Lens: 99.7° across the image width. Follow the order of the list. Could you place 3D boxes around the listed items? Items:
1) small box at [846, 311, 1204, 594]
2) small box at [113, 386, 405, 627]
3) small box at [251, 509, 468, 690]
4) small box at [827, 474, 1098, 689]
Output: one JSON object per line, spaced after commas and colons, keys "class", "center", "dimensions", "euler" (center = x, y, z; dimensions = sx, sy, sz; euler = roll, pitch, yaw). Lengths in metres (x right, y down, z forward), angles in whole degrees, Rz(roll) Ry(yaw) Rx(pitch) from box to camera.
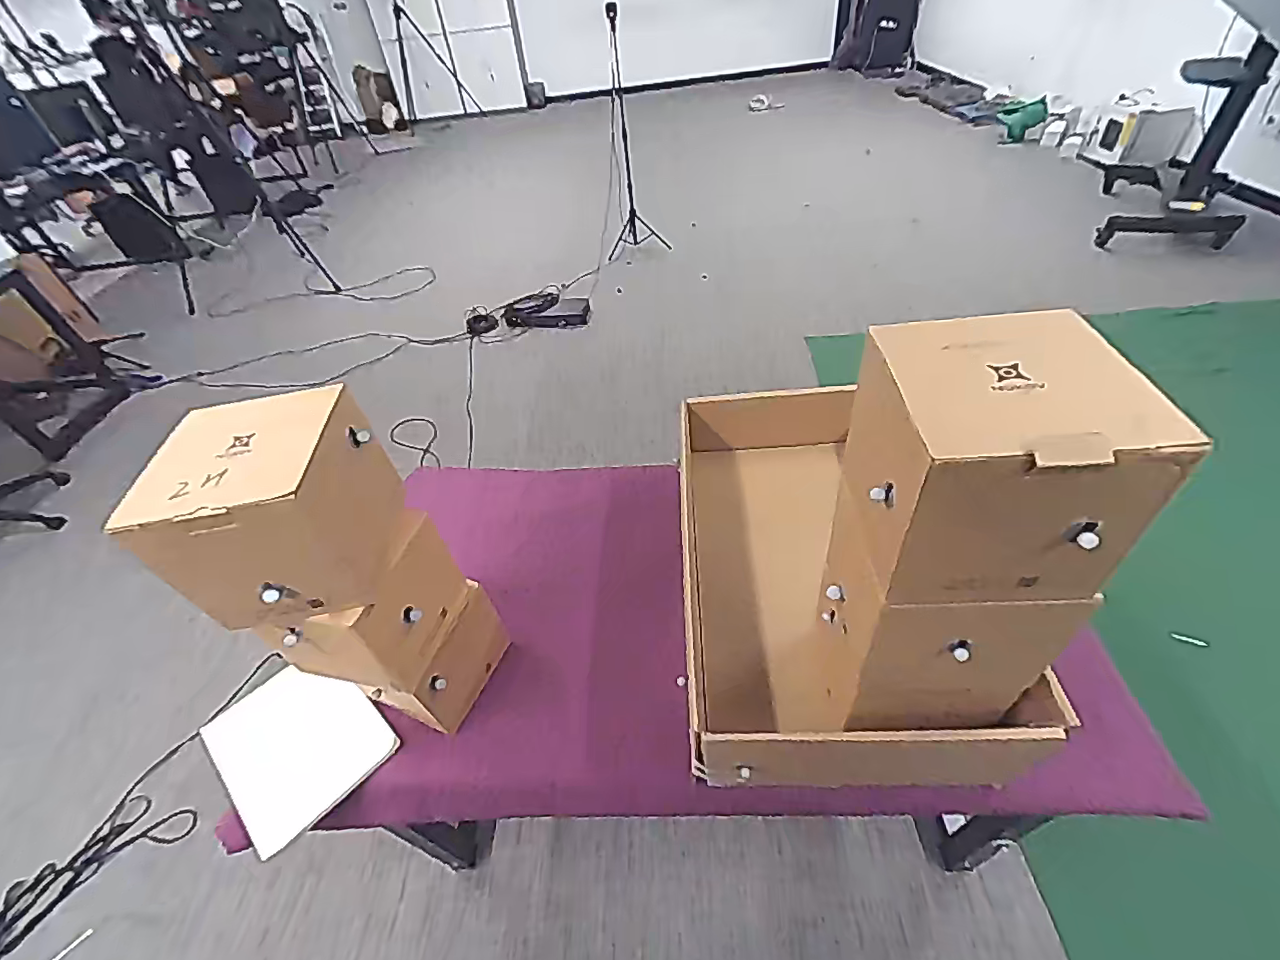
{"class": "small box", "center": [0.283, -0.018, 0.454], "dimensions": [0.168, 0.176, 0.179], "euler": [-3, 44, 7]}
{"class": "small box", "center": [-0.372, 0.028, 0.576], "dimensions": [0.168, 0.176, 0.179], "euler": [-11, 44, -1]}
{"class": "small box", "center": [-0.349, 0.146, 0.688], "dimensions": [0.179, 0.176, 0.168], "euler": [5, 46, 14]}
{"class": "small box", "center": [0.305, 0.103, 0.562], "dimensions": [0.179, 0.176, 0.168], "euler": [-4, 44, 8]}
